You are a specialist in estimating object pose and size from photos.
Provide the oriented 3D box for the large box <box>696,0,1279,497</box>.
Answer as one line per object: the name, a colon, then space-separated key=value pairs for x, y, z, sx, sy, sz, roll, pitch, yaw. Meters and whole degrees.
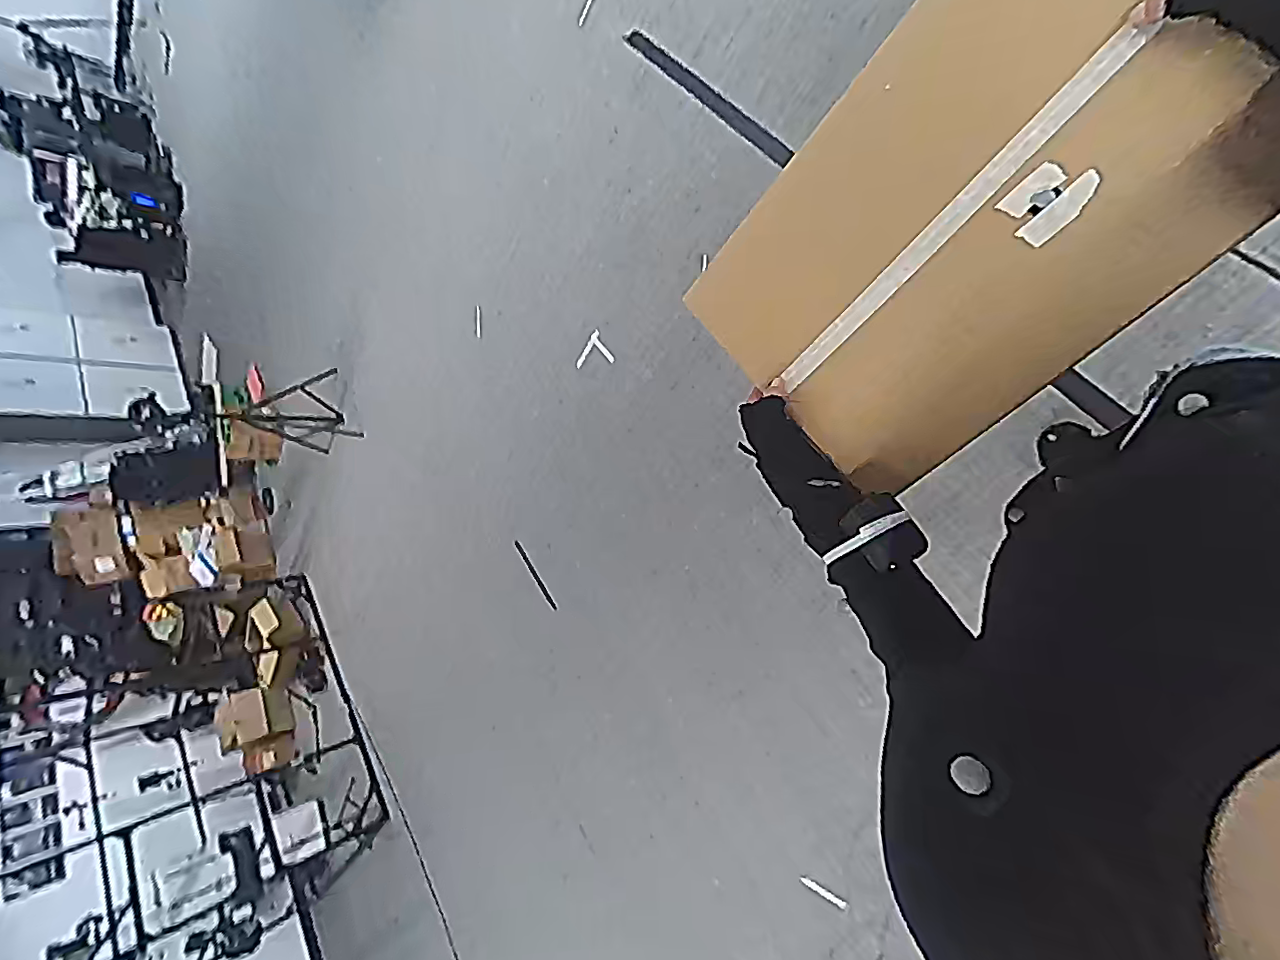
large box: x=0.346 y=-0.240 z=0.615 sx=0.320 sy=0.320 sz=0.408 roll=52 pitch=121 yaw=14
